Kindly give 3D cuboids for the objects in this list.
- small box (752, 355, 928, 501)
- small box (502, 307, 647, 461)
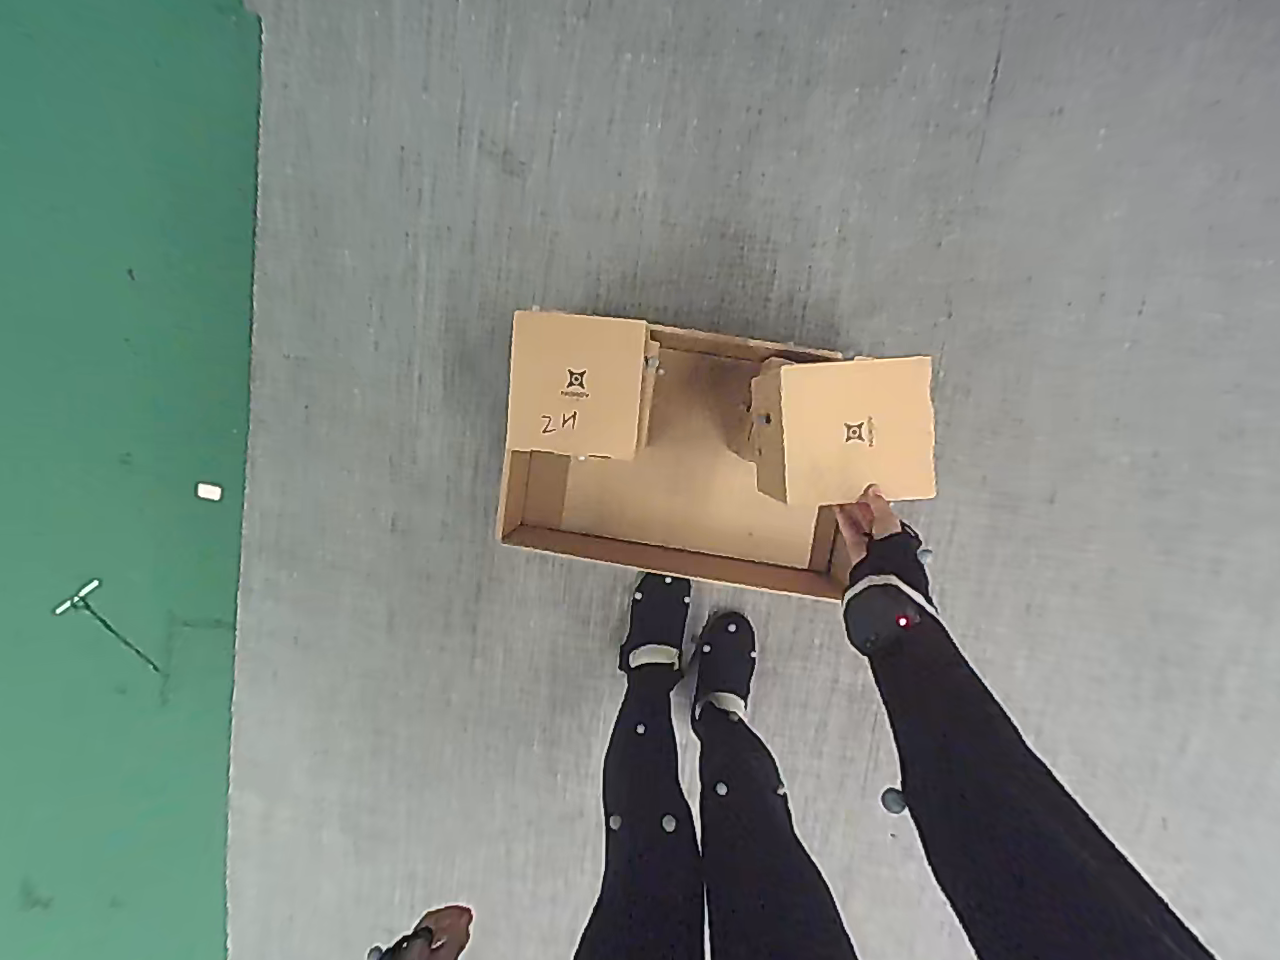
[{"bbox_3d":[0.244,-0.064,0.701,0.179,0.176,0.168,-3,95,0],"label":"small box"},{"bbox_3d":[-0.081,-0.127,0.748,0.168,0.176,0.179,6,98,3],"label":"small box"}]
